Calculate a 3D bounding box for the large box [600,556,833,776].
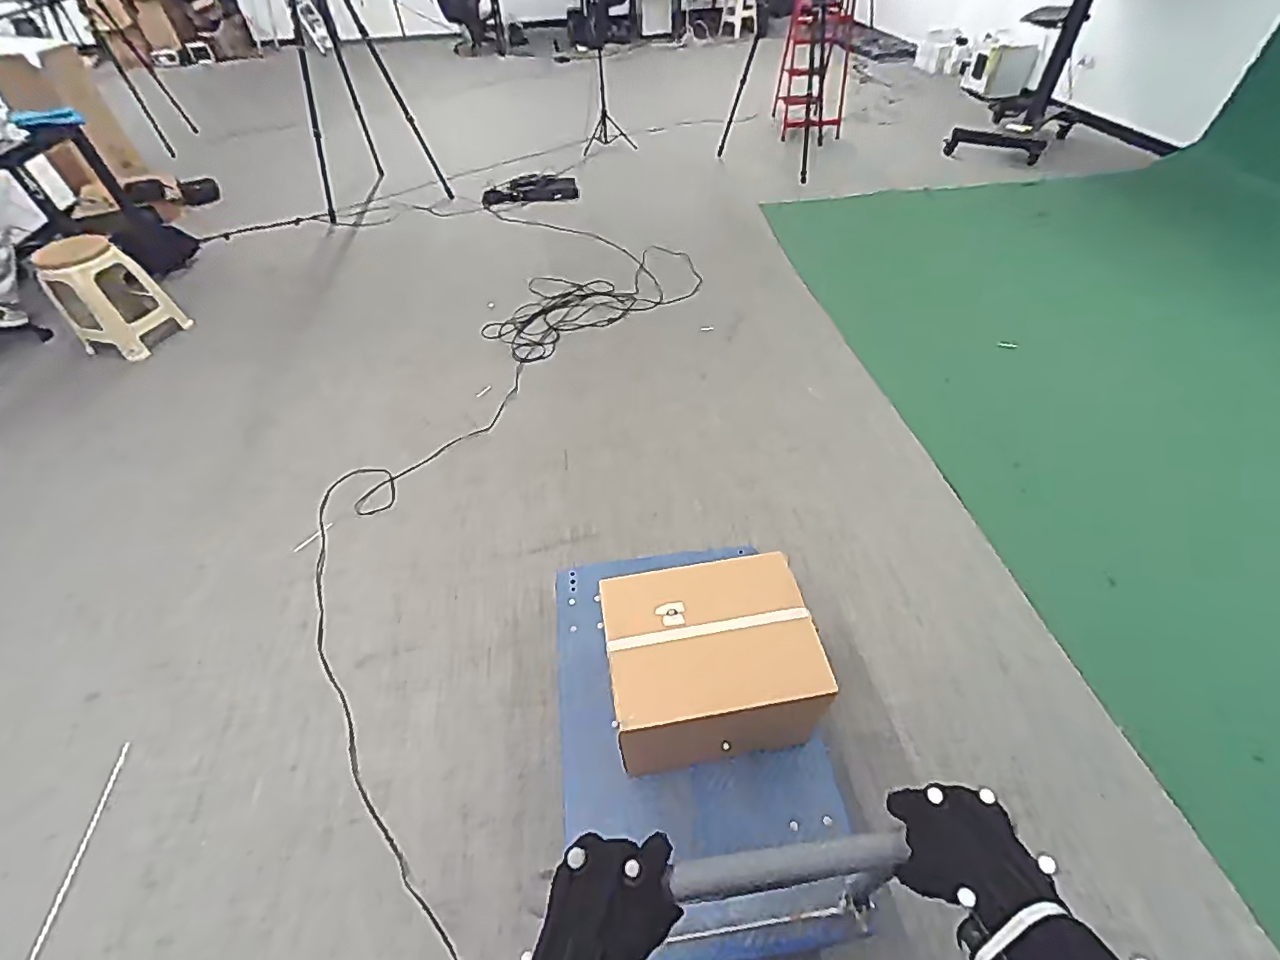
[{"bbox_3d":[0.144,0.408,1.178,0.408,0.320,0.320,-9,47,-3],"label":"large box"}]
